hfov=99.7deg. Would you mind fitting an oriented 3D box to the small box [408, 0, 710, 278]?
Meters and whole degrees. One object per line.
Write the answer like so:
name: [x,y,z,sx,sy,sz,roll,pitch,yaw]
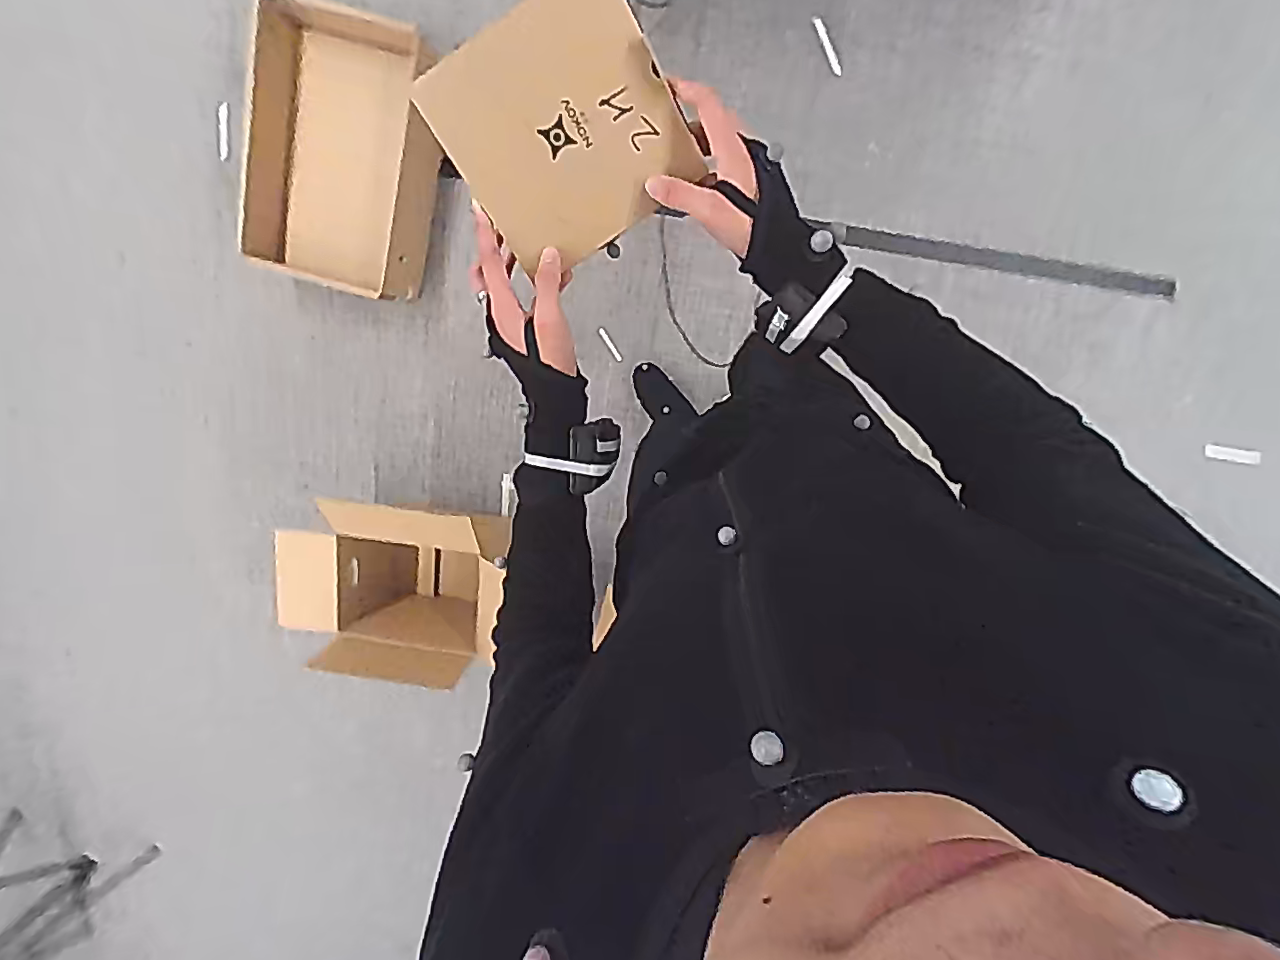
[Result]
small box: [-0.066,-0.300,0.483,0.179,0.176,0.168,-32,114,4]
